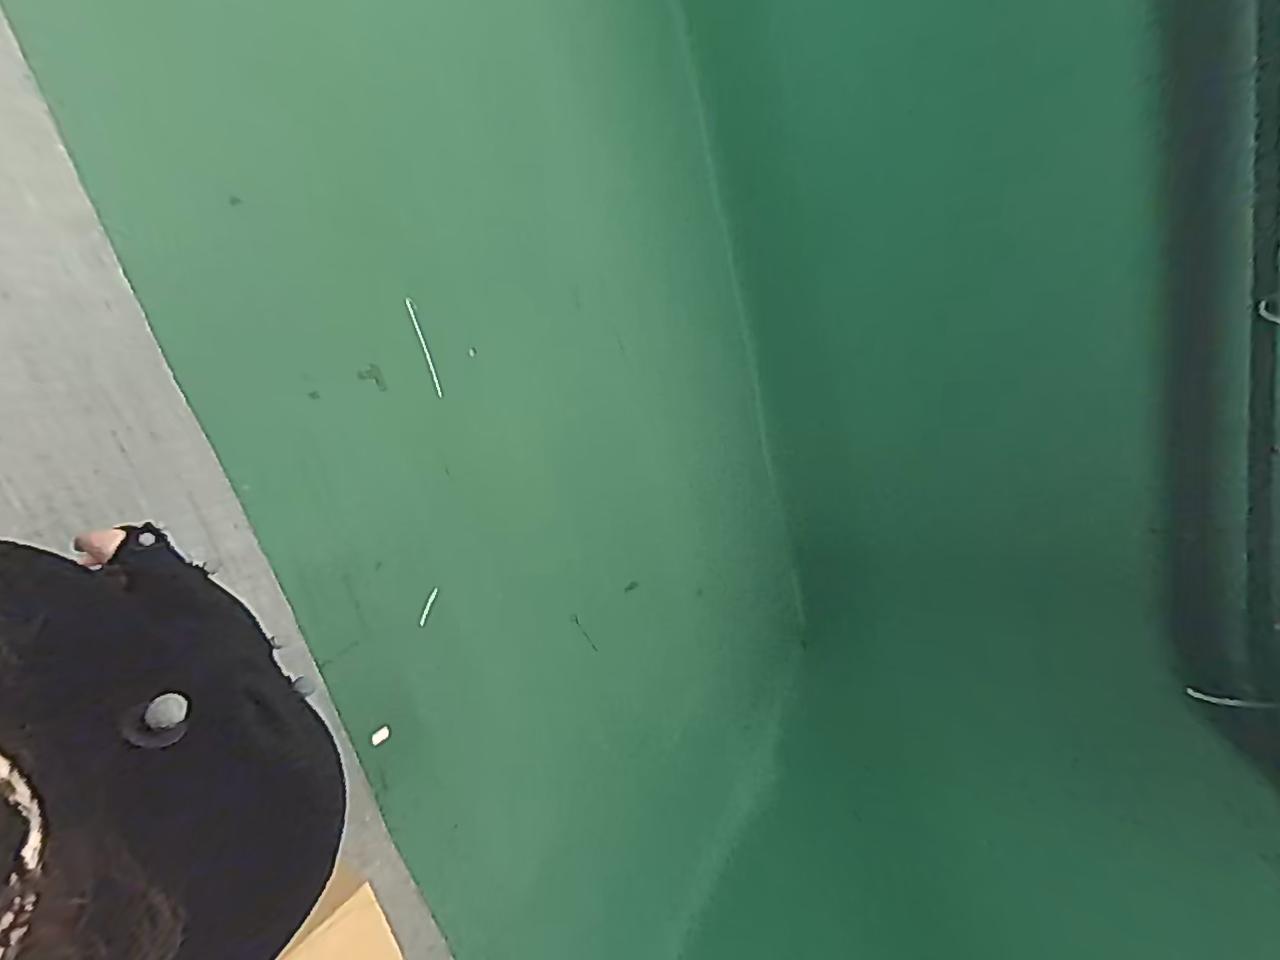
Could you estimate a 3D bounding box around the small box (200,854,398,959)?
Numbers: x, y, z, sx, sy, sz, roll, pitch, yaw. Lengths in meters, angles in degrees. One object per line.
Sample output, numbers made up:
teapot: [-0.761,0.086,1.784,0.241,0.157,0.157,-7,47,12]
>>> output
small box: [-0.479,0.675,0.767,0.168,0.176,0.179,-29,110,-50]
